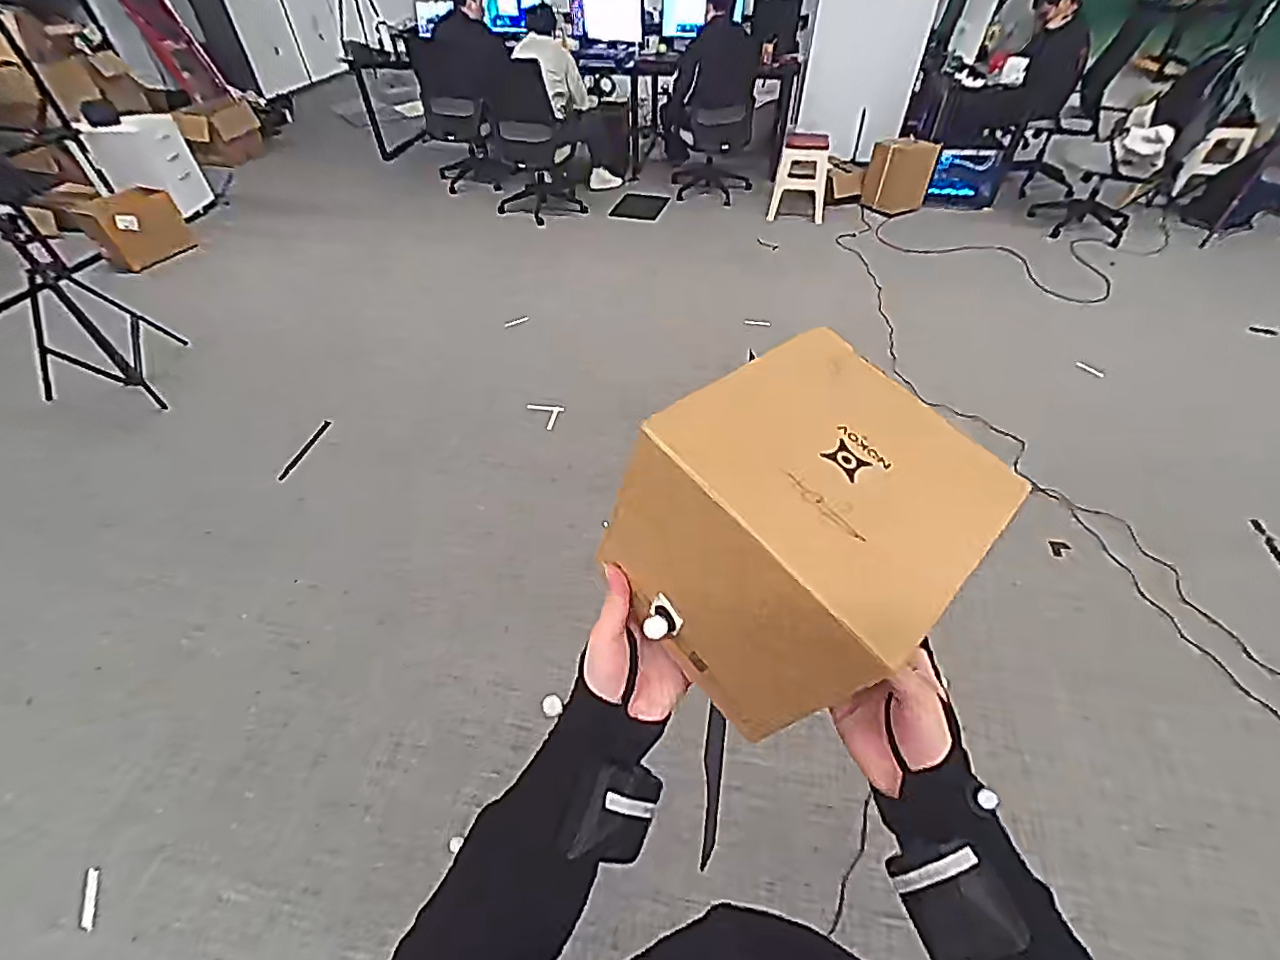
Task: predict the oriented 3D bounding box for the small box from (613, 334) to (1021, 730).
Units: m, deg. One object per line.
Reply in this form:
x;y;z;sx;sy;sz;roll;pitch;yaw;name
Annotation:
0.102;0.037;0.373;0.179;0.176;0.168;-33;68;-31;small box
